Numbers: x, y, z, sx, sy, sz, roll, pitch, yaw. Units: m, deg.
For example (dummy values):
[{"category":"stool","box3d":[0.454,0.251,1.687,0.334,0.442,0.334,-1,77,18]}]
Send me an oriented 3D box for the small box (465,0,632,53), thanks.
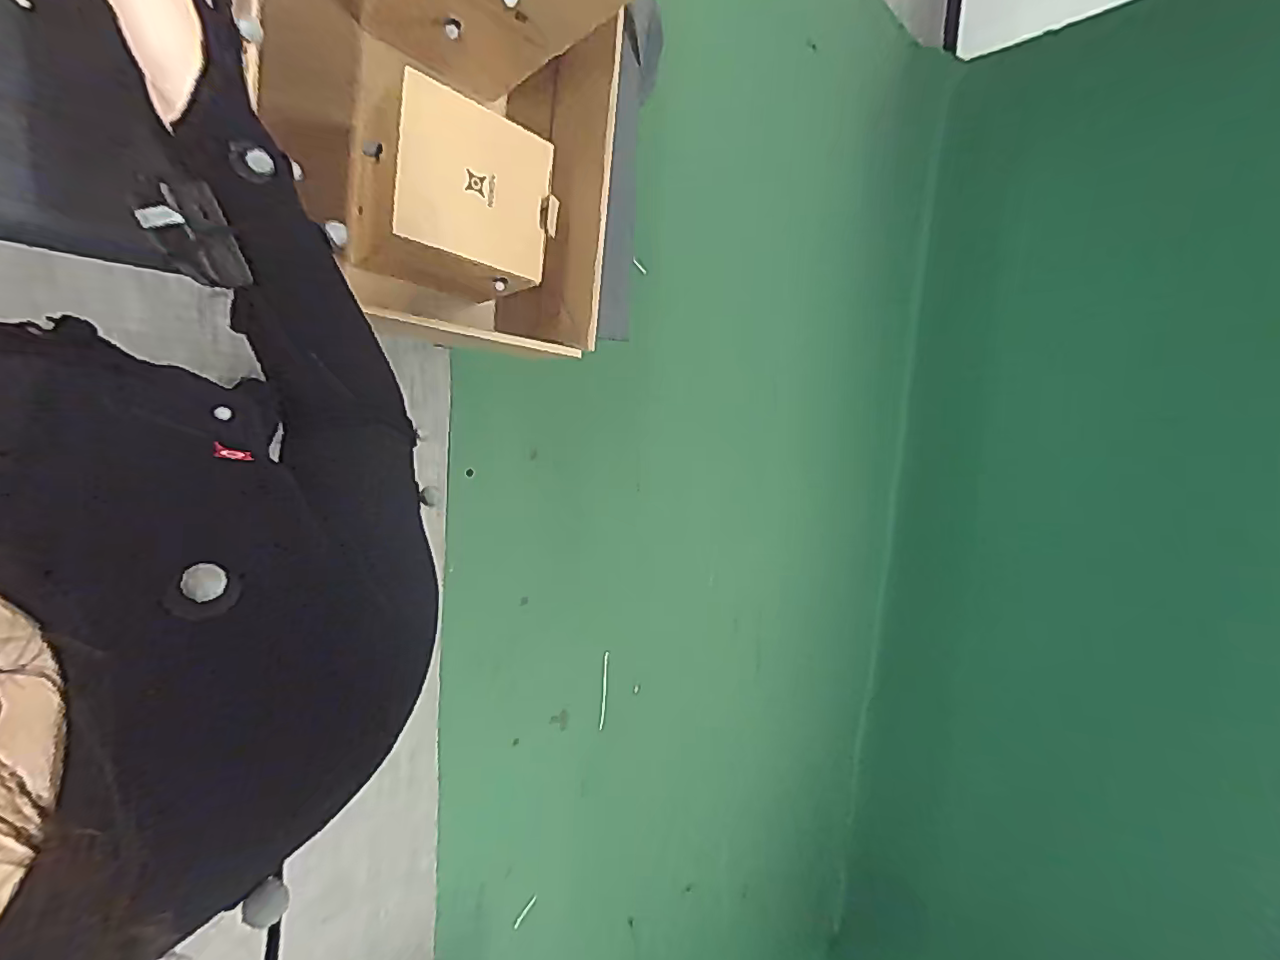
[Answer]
[{"category":"small box","box3d":[-0.096,-0.565,0.509,0.168,0.176,0.179,2,98,-43]}]
